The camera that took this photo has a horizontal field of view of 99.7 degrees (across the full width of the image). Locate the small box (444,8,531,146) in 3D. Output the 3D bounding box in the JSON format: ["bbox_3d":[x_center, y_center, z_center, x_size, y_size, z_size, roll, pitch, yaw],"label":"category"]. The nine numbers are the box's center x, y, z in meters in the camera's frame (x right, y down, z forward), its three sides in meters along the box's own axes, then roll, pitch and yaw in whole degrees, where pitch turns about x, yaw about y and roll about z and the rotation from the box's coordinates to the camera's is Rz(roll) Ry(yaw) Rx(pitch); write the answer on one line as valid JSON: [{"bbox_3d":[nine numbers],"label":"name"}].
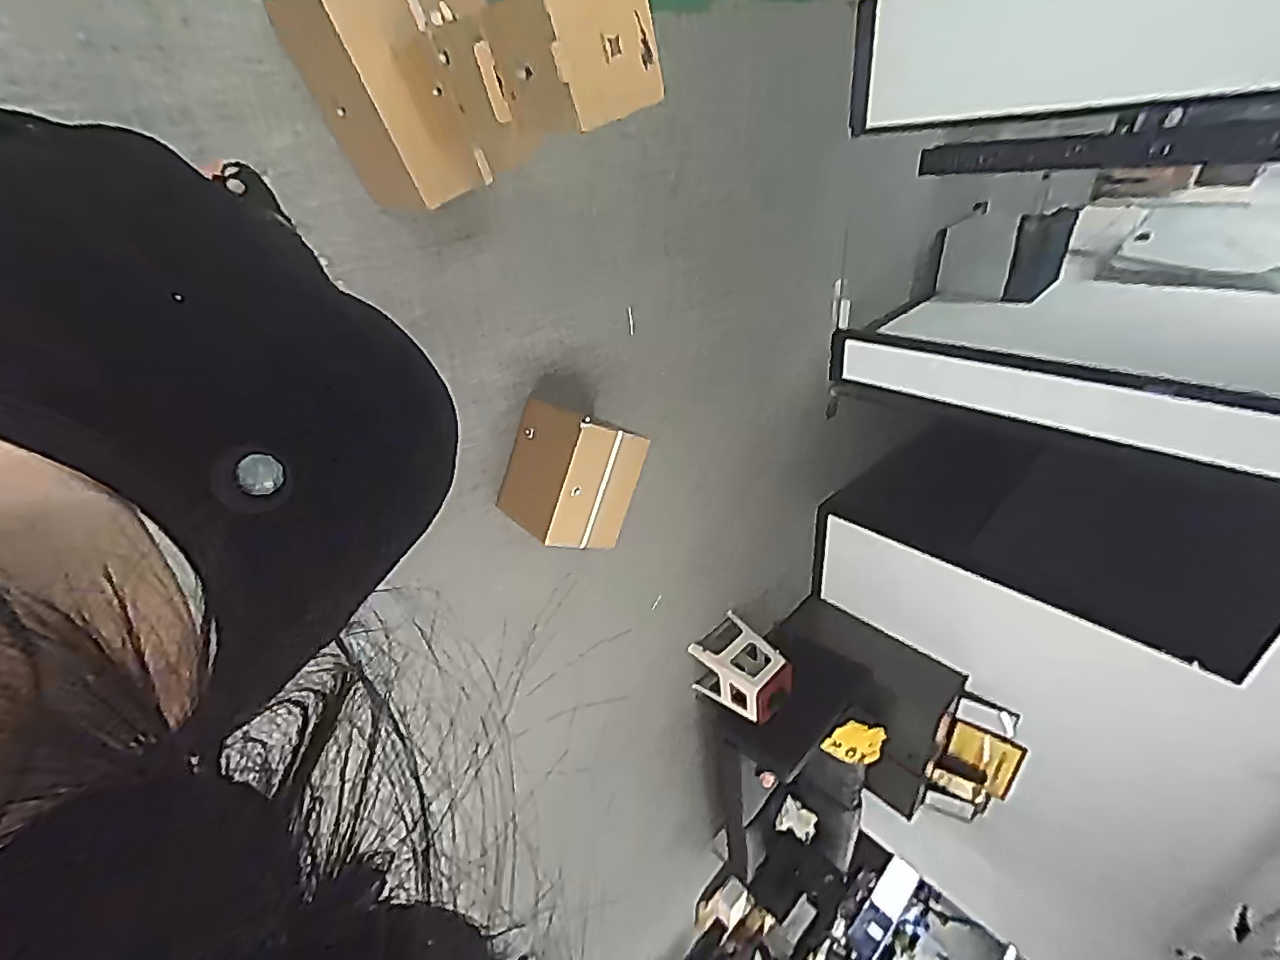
[{"bbox_3d":[-0.205,-0.678,0.909,0.179,0.176,0.168,-37,133,-25],"label":"small box"}]

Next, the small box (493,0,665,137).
[{"bbox_3d":[-0.094,-0.626,0.799,0.179,0.176,0.168,-37,133,-24],"label":"small box"}]

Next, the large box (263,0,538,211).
[{"bbox_3d":[-0.492,-0.843,1.152,0.320,0.320,0.408,-43,134,-23],"label":"large box"}]

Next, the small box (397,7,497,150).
[{"bbox_3d":[-0.319,-0.740,1.009,0.168,0.176,0.179,-38,133,-24],"label":"small box"}]
